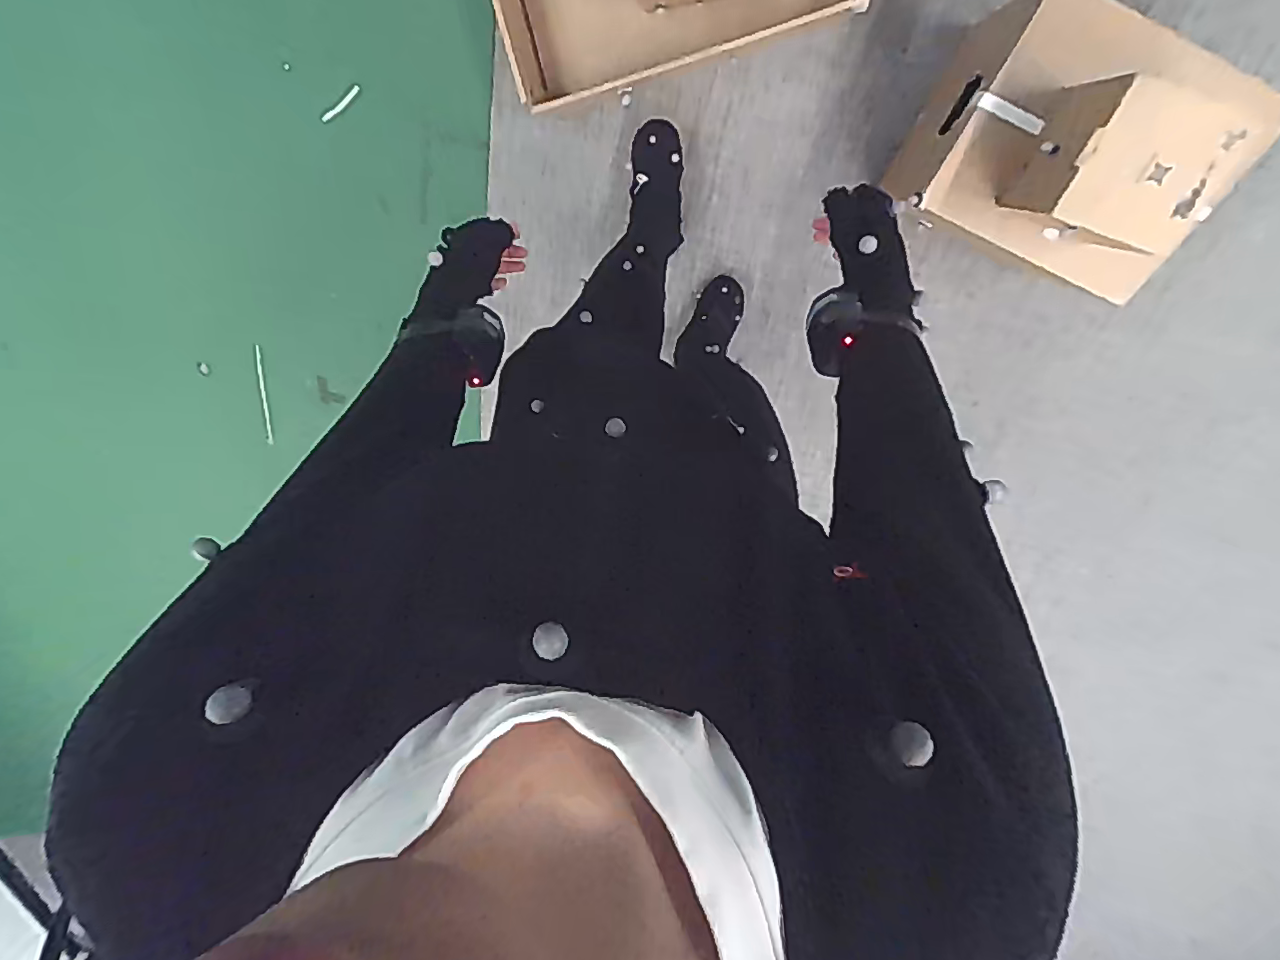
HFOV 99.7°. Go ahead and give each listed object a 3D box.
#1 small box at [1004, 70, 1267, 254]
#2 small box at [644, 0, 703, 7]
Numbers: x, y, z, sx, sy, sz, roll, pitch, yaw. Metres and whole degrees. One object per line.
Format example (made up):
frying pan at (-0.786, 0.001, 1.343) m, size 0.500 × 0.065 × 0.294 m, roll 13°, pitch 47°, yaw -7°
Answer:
small box at (0.663, -0.436, 0.757) m, size 0.179 × 0.176 × 0.168 m, roll 19°, pitch 121°, yaw -1°
small box at (0.071, -0.914, 0.889) m, size 0.168 × 0.176 × 0.179 m, roll -1°, pitch 117°, yaw 11°
